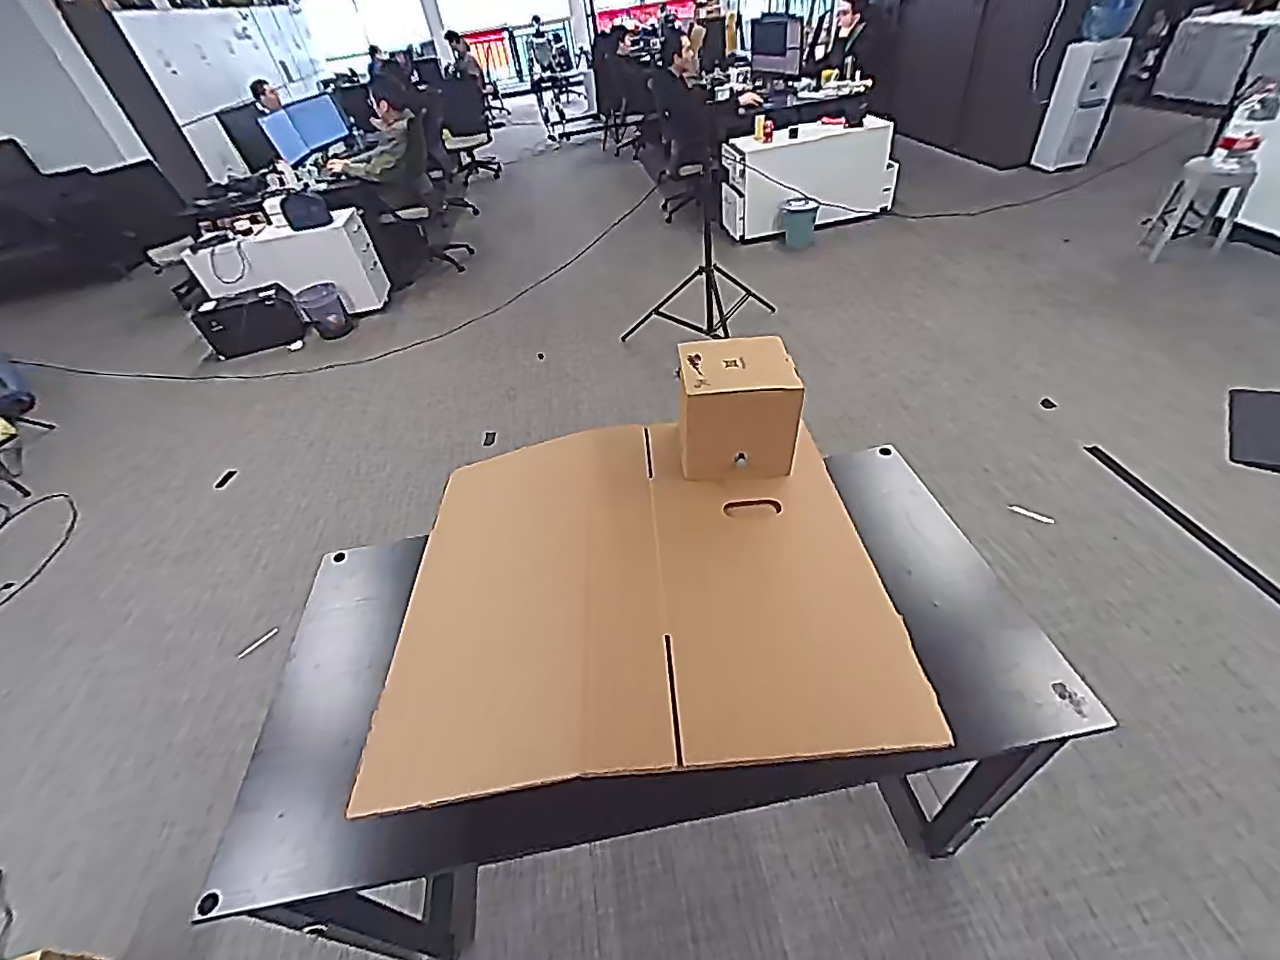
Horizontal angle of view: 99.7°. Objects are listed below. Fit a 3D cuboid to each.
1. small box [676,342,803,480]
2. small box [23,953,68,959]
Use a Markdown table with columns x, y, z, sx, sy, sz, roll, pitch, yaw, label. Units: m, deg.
| x | y | z | sx | sy | sz | roll | pitch | yaw | label |
| --- | --- | --- | --- | --- | --- | --- | --- | --- | --- |
| 0.154 | -0.114 | 0.905 | 0.179 | 0.176 | 0.168 | -3 | 40 | 0 | small box |
| -1.159 | 1.022 | 0.999 | 0.168 | 0.176 | 0.179 | -15 | 42 | -7 | small box |
